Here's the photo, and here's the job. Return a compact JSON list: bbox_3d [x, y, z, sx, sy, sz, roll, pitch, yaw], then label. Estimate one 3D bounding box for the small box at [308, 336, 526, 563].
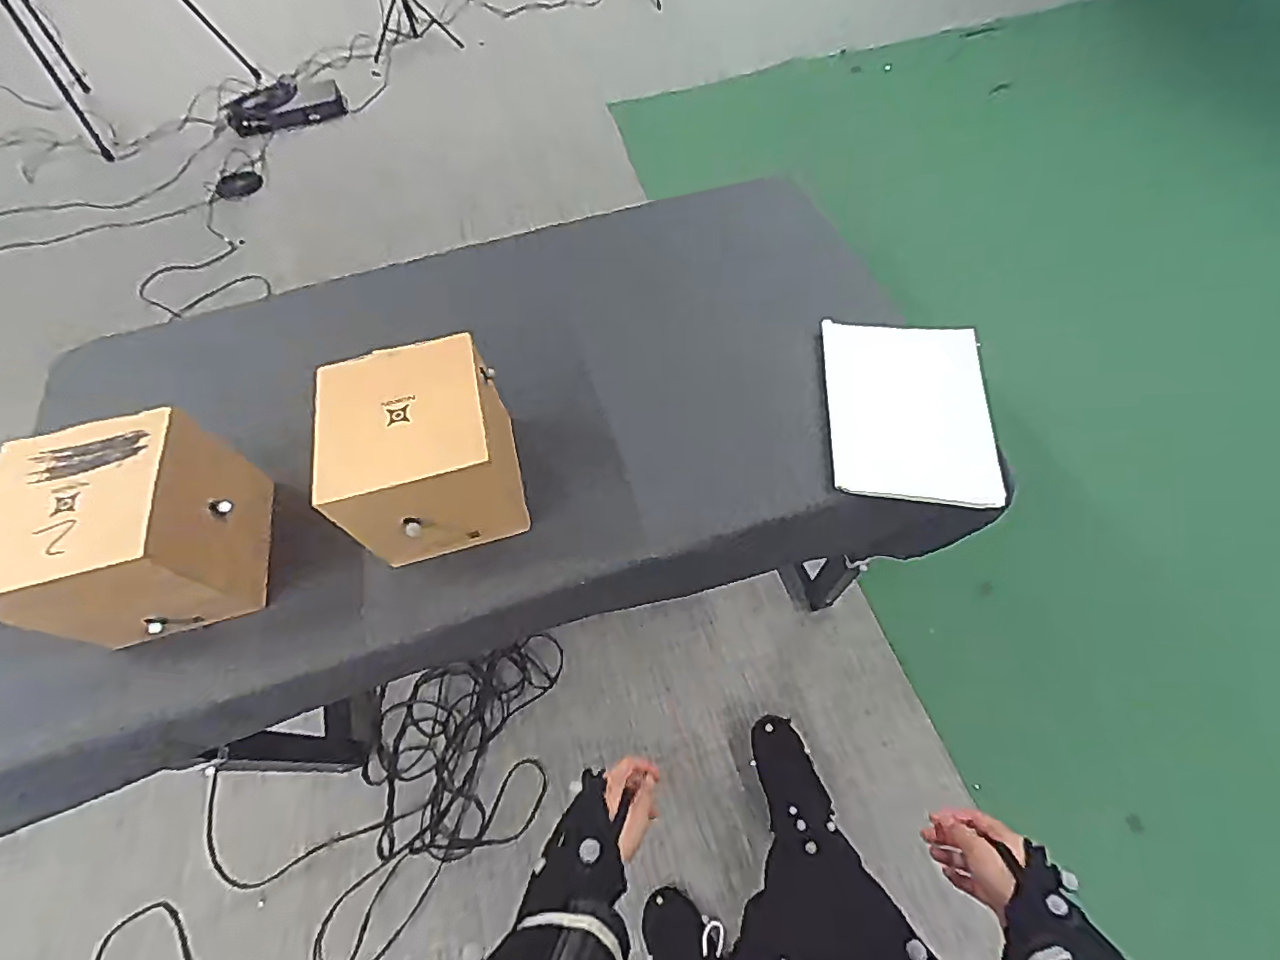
[{"bbox_3d":[-0.235,-0.022,0.600,0.168,0.176,0.179,-15,60,-5],"label":"small box"}]
